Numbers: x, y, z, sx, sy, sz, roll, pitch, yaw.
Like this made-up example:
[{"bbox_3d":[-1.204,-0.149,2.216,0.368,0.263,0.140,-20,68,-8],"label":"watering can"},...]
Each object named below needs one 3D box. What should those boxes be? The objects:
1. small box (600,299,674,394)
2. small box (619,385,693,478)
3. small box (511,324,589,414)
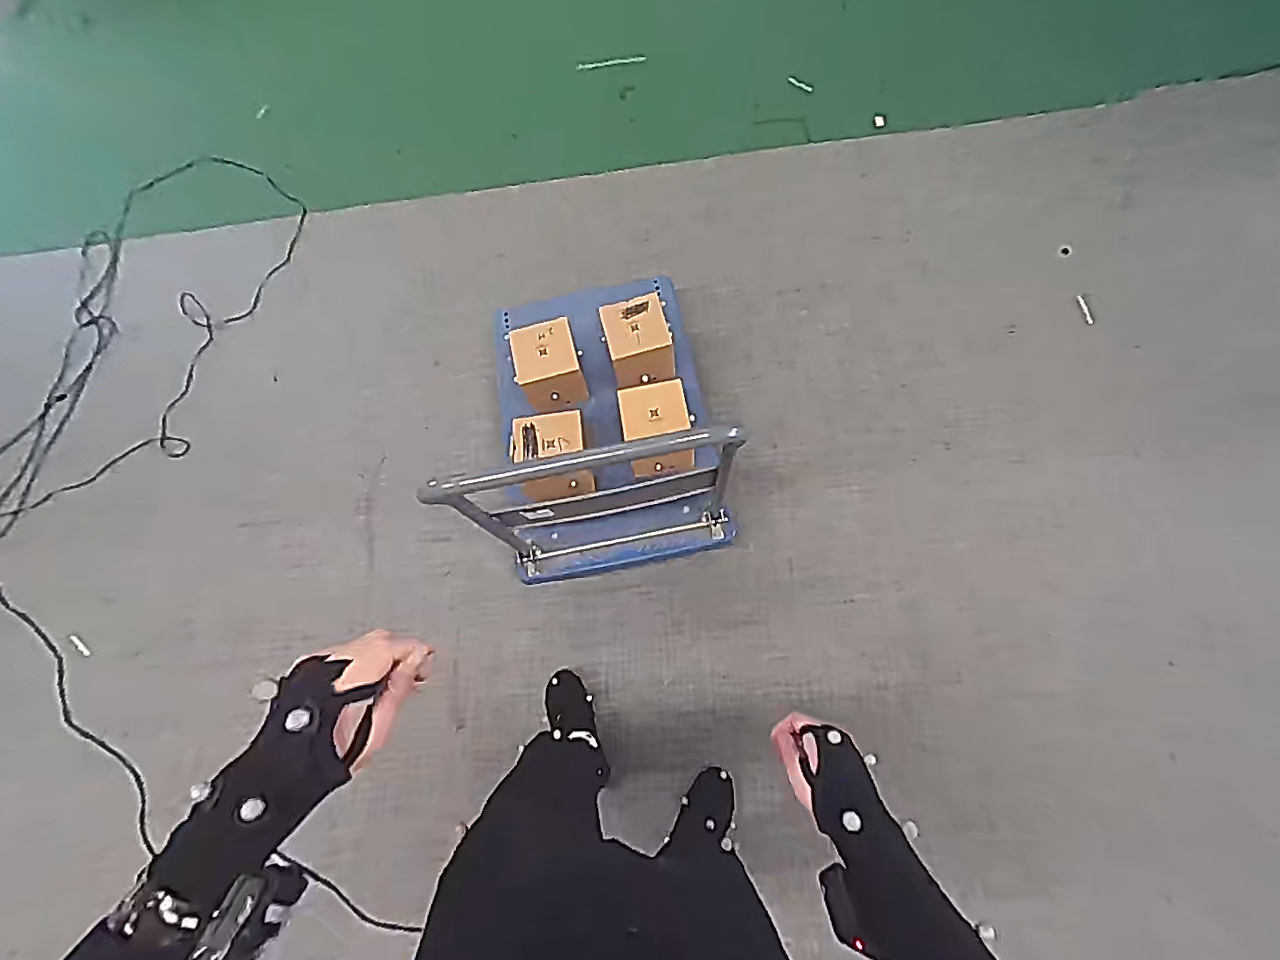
[{"bbox_3d":[-0.005,-0.371,1.525,0.168,0.176,0.179,-15,69,1],"label":"small box"},{"bbox_3d":[0.043,-0.124,1.426,0.168,0.176,0.179,-11,69,2],"label":"small box"},{"bbox_3d":[-0.248,-0.304,1.525,0.168,0.176,0.179,-15,68,-1],"label":"small box"}]
